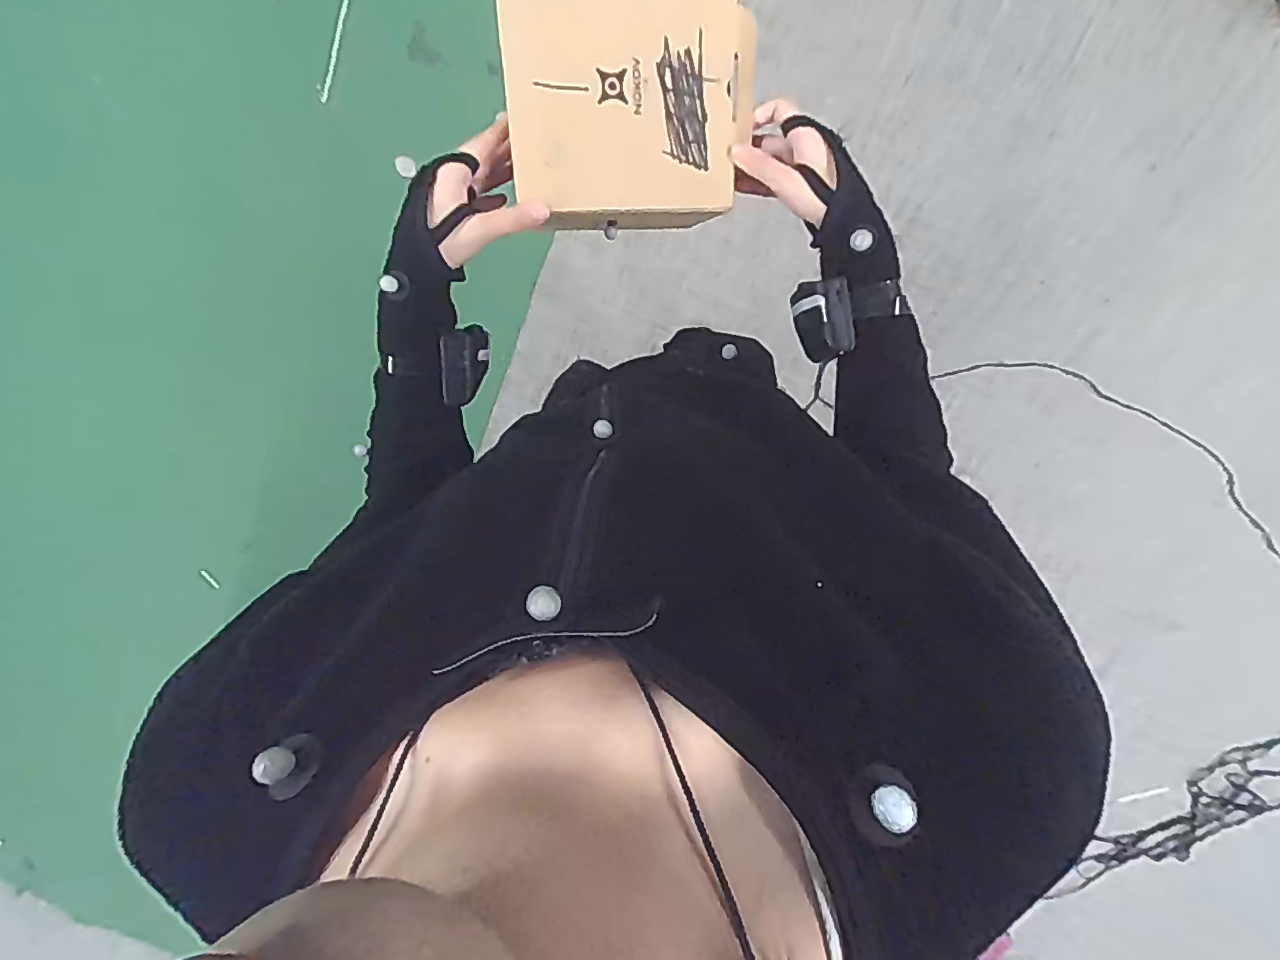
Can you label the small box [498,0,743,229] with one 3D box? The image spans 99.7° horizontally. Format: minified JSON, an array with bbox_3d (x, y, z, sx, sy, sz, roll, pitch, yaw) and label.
[{"bbox_3d":[-0.022,-0.318,0.470,0.179,0.176,0.168,-4,110,-6],"label":"small box"}]
